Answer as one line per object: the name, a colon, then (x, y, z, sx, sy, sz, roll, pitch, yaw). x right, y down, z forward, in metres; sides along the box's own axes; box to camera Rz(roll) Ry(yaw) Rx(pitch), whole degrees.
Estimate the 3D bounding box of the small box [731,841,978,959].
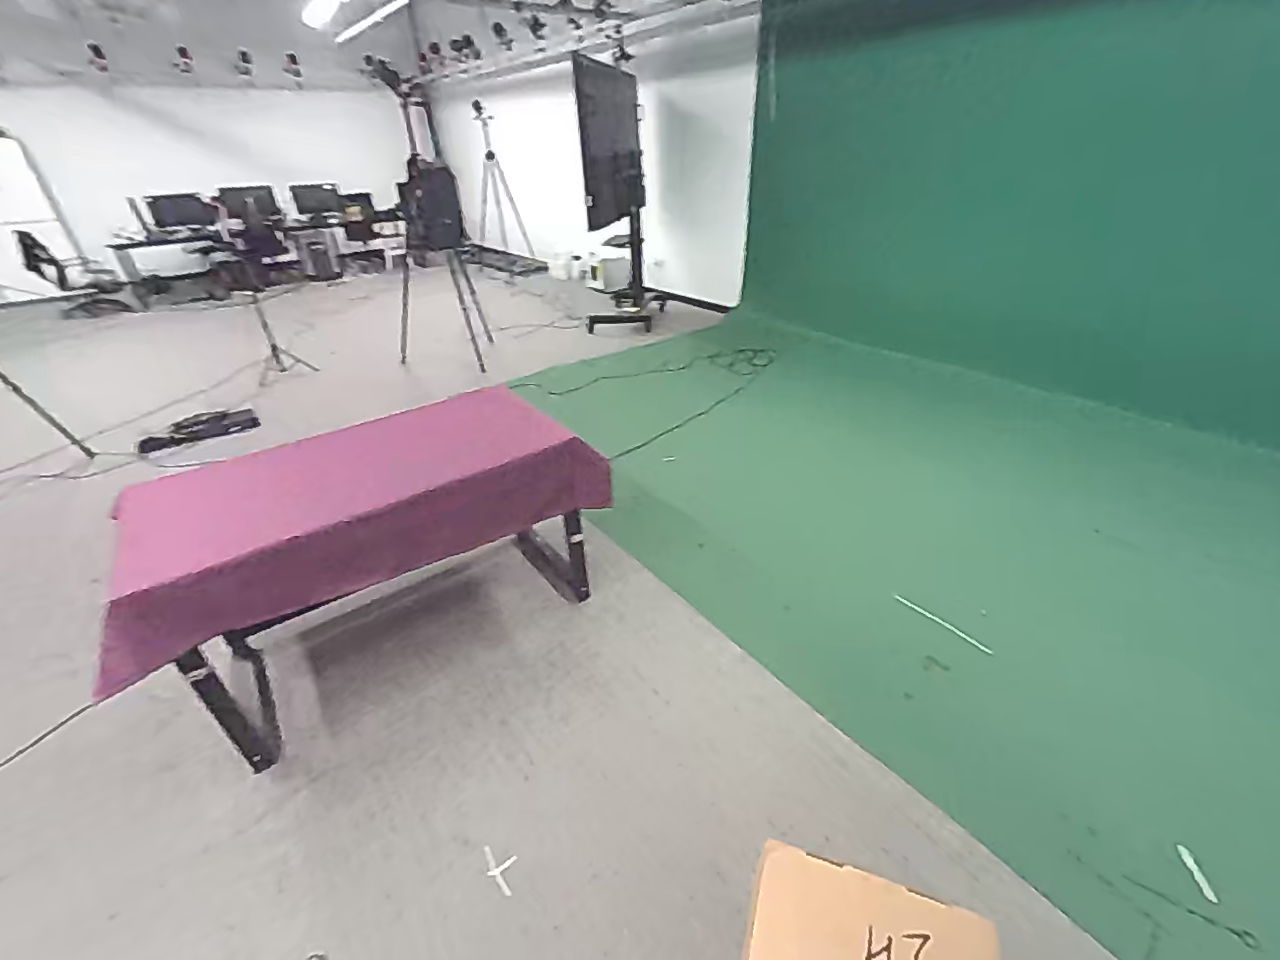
small box: (0.153, 0.429, 0.429, 0.168, 0.176, 0.179, 10, 49, 17)
